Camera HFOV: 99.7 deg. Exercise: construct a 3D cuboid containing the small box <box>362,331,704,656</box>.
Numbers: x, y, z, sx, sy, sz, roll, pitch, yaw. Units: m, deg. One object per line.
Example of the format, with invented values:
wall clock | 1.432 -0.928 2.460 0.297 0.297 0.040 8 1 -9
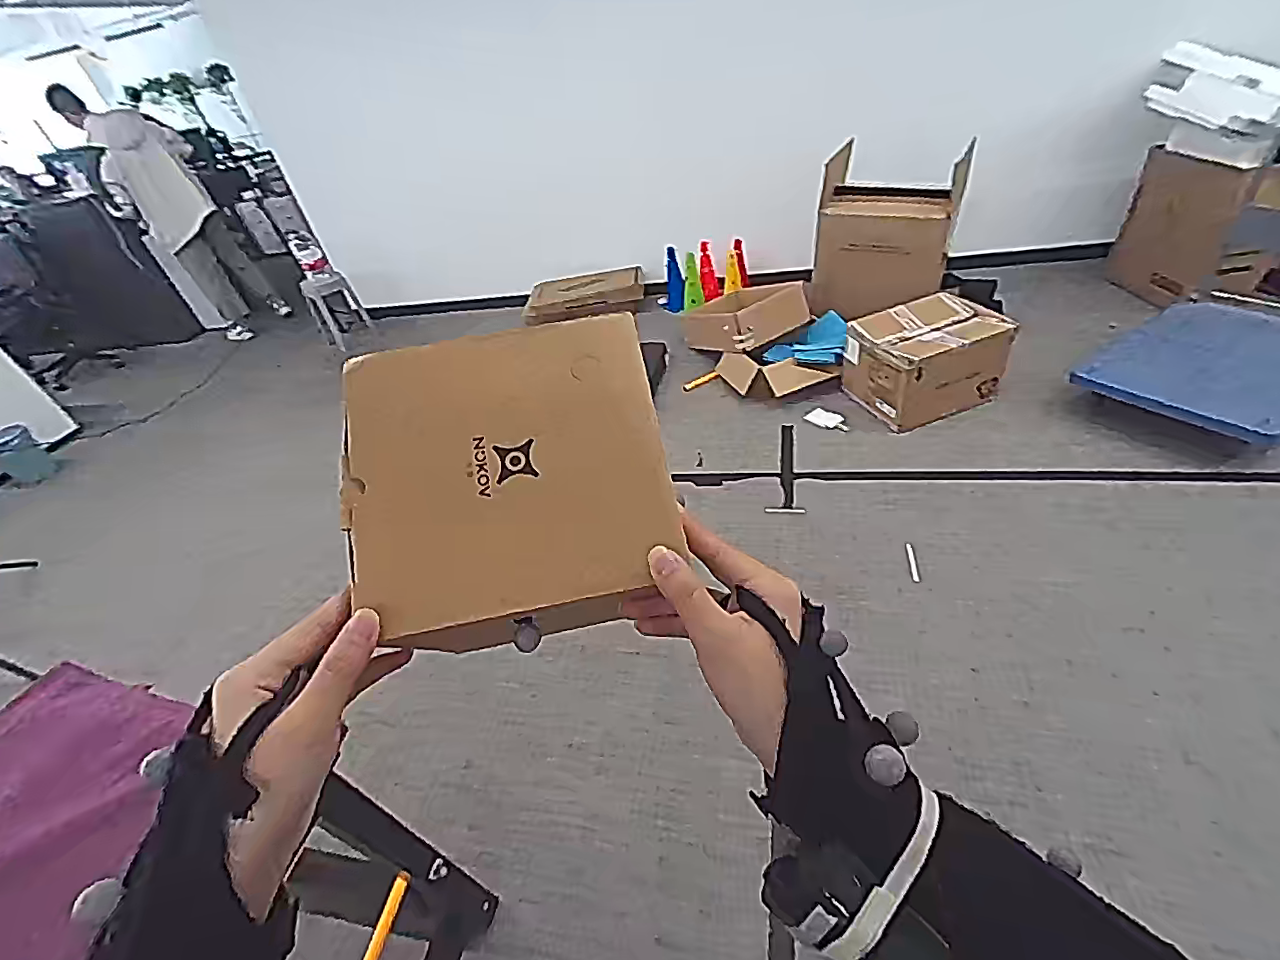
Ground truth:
small box | -0.066 0.022 0.379 0.179 0.176 0.168 -11 72 -4
